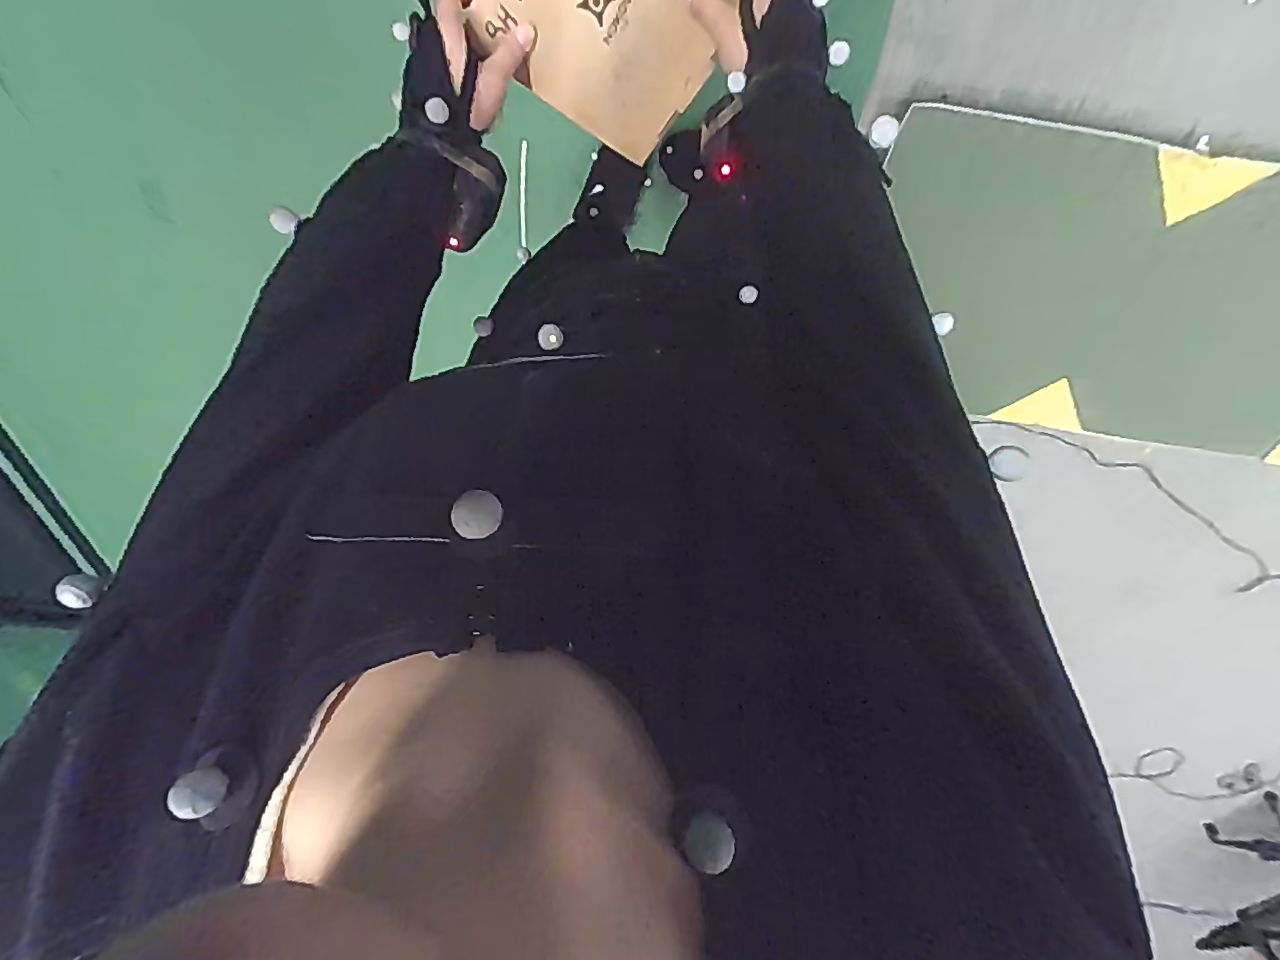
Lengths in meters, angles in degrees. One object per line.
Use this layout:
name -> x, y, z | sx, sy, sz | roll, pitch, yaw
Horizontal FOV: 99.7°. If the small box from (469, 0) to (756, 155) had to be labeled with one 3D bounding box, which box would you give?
small box -> -0.015, -0.431, 0.449 | 0.179, 0.176, 0.168 | 22, 145, -27
